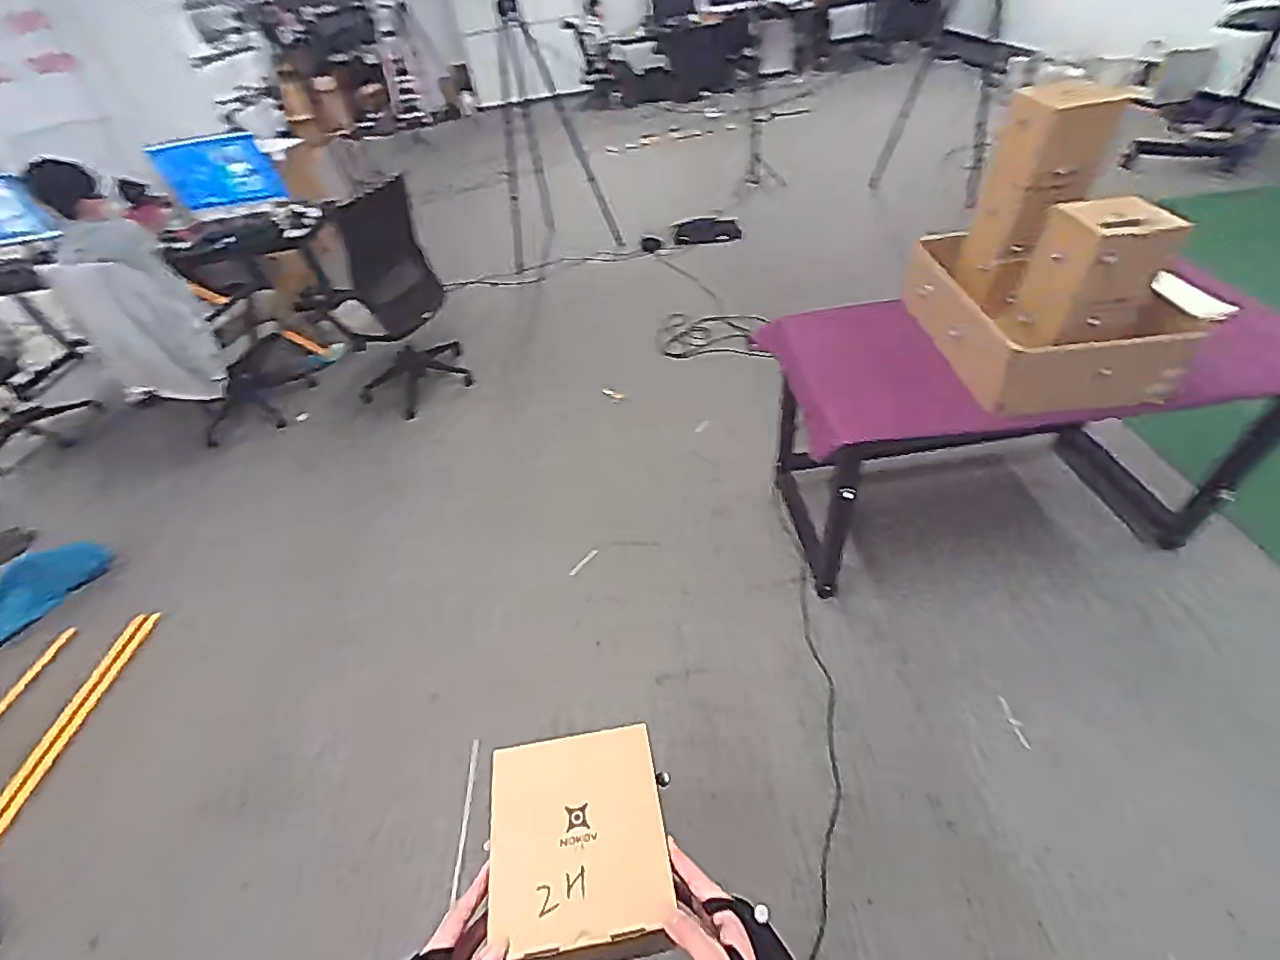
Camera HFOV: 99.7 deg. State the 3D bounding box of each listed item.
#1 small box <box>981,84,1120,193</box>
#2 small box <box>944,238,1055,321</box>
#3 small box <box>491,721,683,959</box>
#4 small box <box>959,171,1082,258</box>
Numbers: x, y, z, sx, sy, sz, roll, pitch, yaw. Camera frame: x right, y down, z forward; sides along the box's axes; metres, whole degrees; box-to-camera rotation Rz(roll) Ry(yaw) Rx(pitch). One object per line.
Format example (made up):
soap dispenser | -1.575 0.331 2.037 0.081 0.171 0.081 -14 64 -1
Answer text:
small box | 0.934 -0.790 1.254 0.168 0.176 0.179 -8 47 2
small box | 0.972 -0.560 1.484 0.168 0.176 0.179 -8 47 2
small box | -0.053 0.387 0.573 0.168 0.176 0.179 -7 44 -4
small box | 0.952 -0.679 1.372 0.168 0.176 0.179 -8 45 1
